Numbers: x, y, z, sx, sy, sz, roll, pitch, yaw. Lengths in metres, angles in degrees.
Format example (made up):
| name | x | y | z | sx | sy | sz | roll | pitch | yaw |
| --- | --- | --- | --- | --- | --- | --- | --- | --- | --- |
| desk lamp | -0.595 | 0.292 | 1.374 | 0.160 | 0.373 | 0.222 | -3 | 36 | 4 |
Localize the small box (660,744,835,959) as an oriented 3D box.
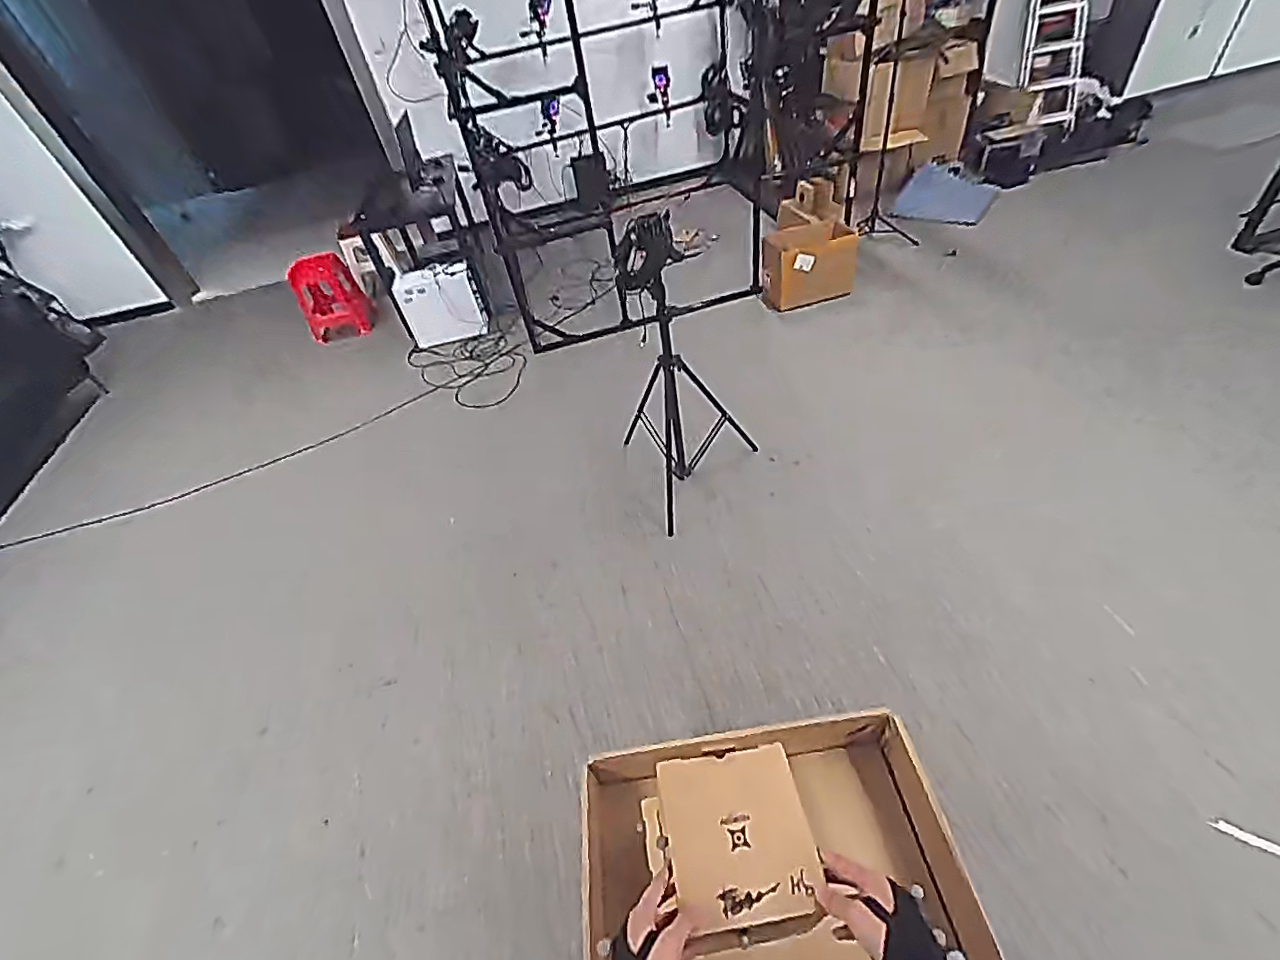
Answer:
| name | x | y | z | sx | sy | sz | roll | pitch | yaw |
| --- | --- | --- | --- | --- | --- | --- | --- | --- | --- |
| small box | 0.118 | 0.462 | 0.675 | 0.168 | 0.176 | 0.179 | -8 | 43 | -4 |
